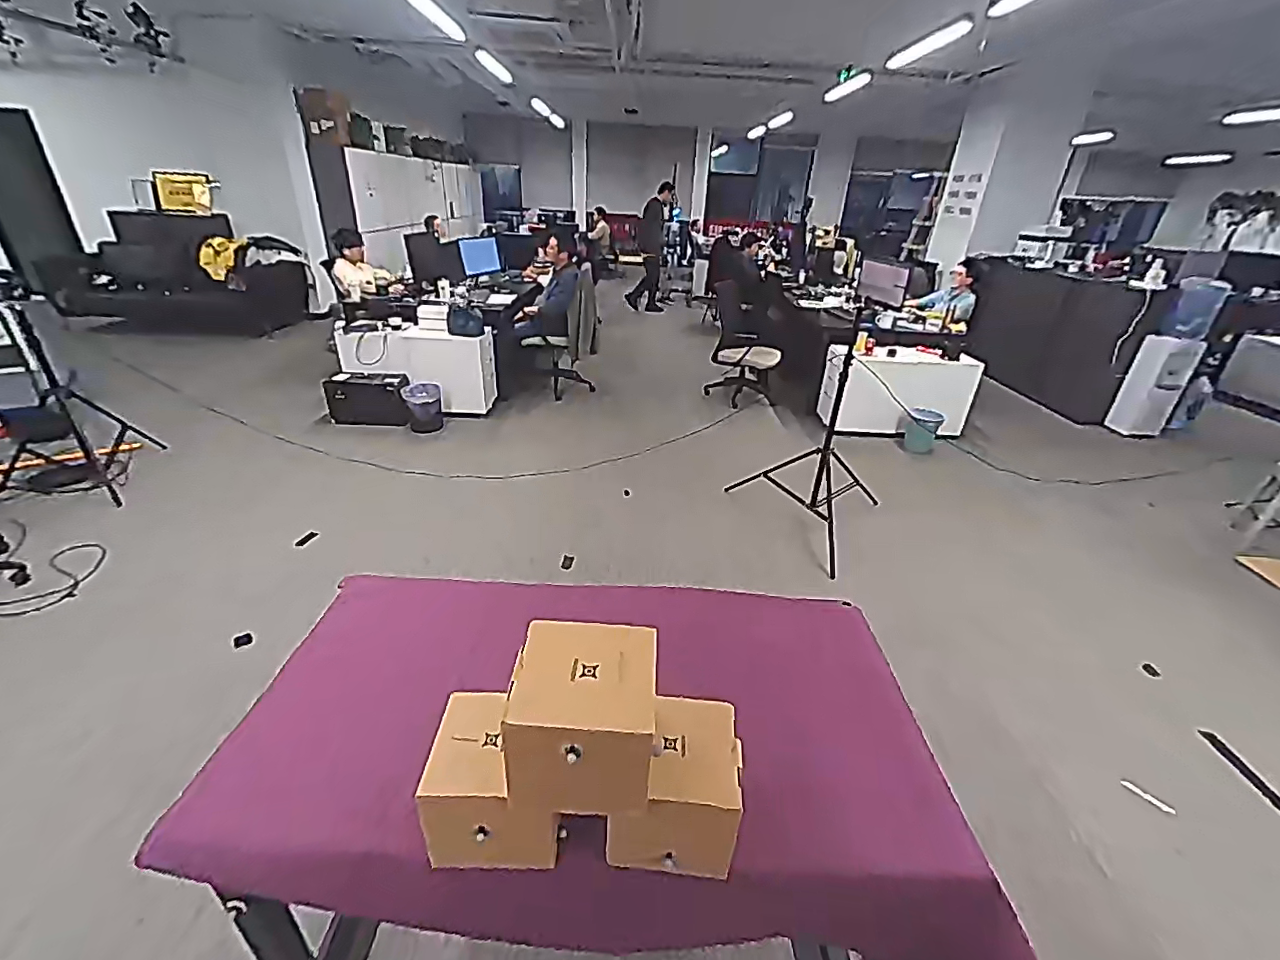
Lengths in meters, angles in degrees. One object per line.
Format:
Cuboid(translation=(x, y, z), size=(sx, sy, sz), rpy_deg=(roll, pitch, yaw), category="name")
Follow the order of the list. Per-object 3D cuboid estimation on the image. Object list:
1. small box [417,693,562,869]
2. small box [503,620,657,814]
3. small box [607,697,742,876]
Cuboid(translation=(-0.202, 0.439, 0.796), size=(0.179, 0.176, 0.168), rpy_deg=(1, 27, -1), category="small box")
Cuboid(translation=(-0.070, 0.308, 0.710), size=(0.179, 0.176, 0.168), rpy_deg=(4, 29, 0), category="small box")
Cuboid(translation=(0.048, 0.451, 0.804), size=(0.179, 0.176, 0.168), rpy_deg=(4, 27, 4), category="small box")
